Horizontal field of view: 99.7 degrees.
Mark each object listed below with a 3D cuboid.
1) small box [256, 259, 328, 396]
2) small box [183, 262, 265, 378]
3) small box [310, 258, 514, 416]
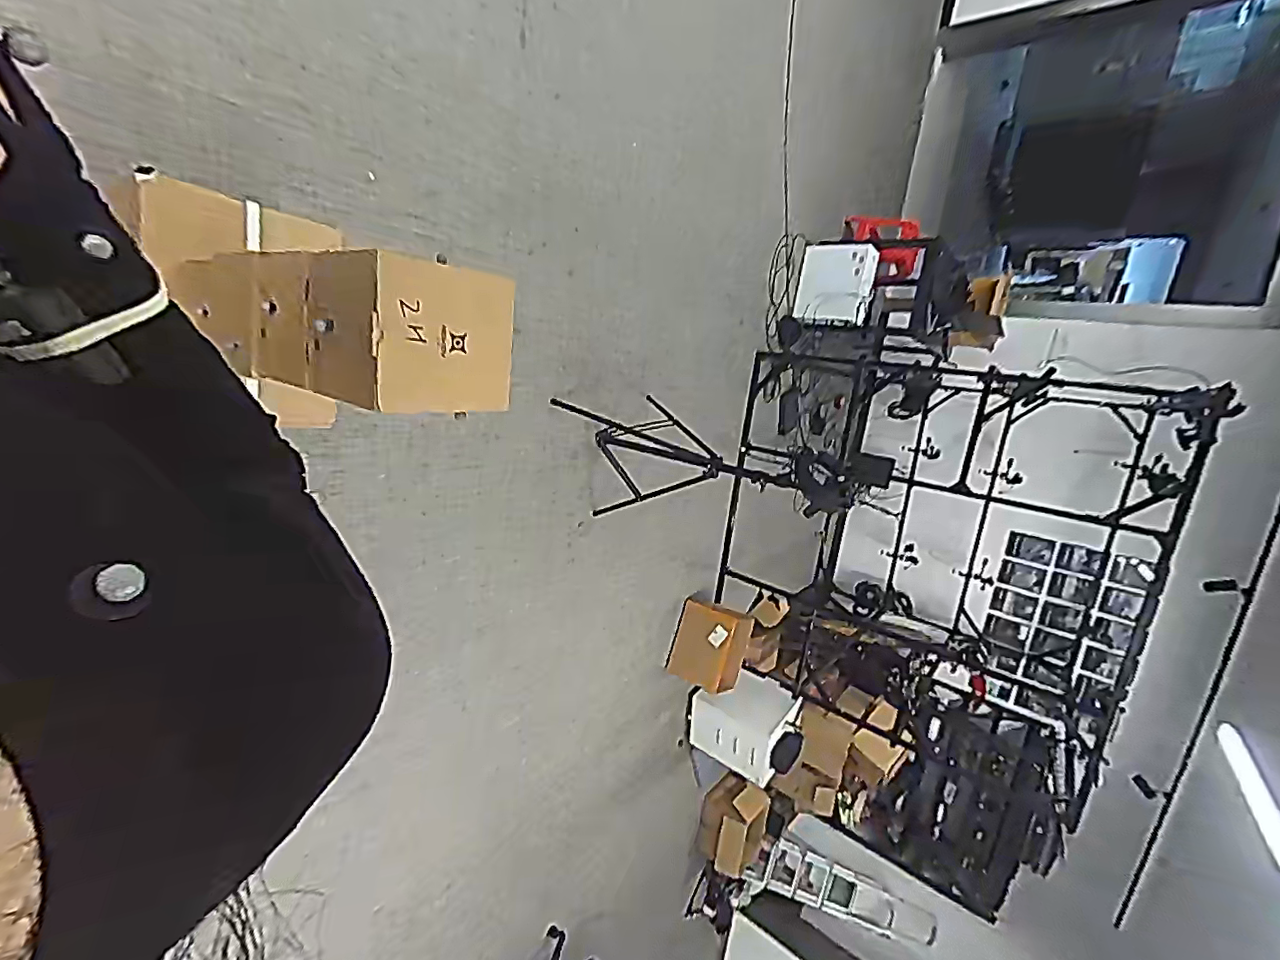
[{"bbox_3d":[-0.414,-0.210,0.768,0.179,0.176,0.168,-8,109,-51],"label":"small box"},{"bbox_3d":[-0.677,-0.274,0.951,0.168,0.176,0.179,-9,111,-51],"label":"small box"},{"bbox_3d":[-0.283,-0.174,0.674,0.179,0.176,0.168,-10,110,-50],"label":"small box"}]
